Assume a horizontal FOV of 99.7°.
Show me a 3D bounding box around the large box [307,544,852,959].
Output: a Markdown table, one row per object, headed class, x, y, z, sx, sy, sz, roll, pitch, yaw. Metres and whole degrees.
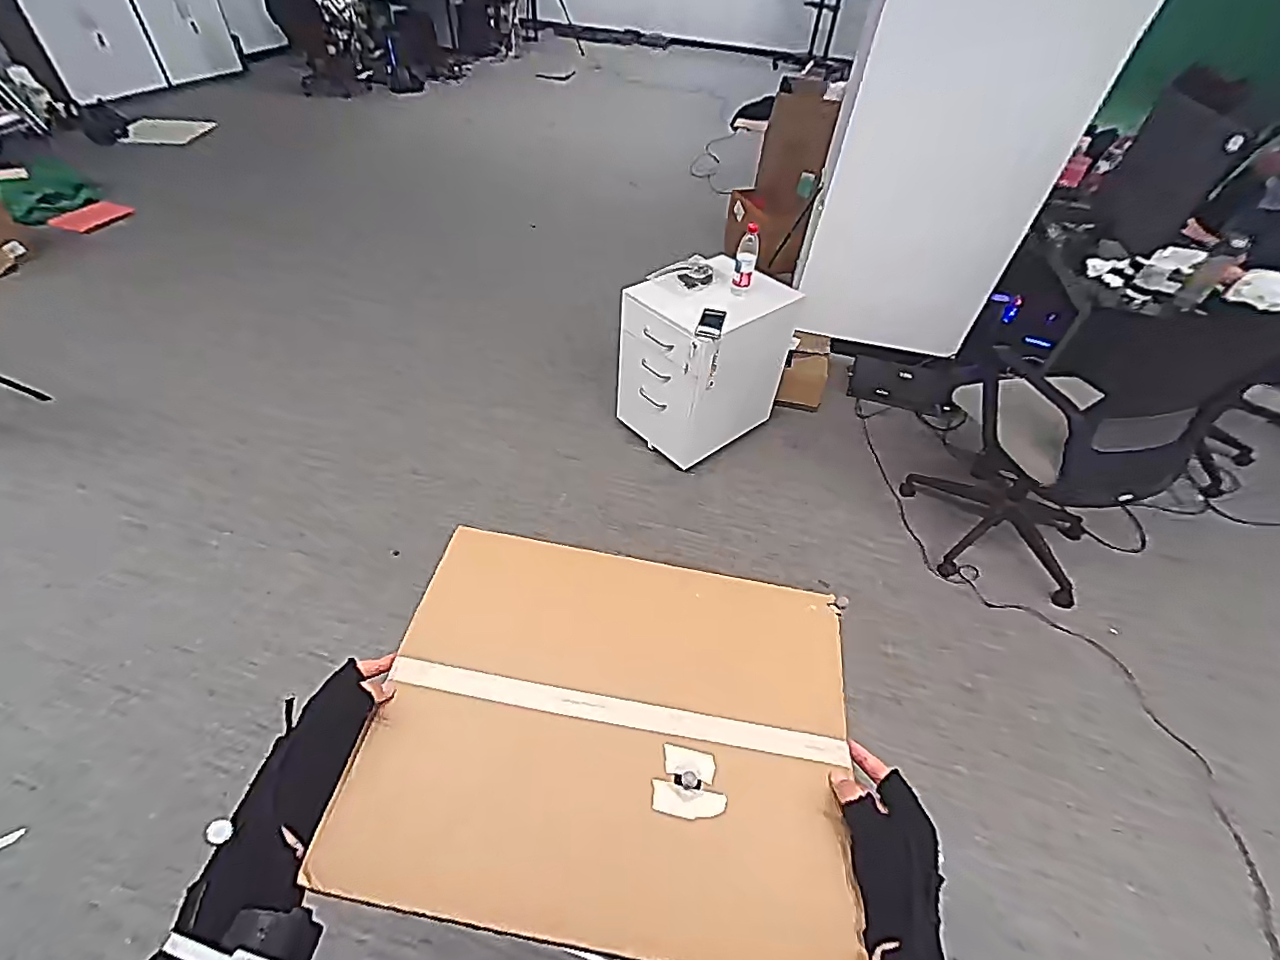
| class | x | y | z | sx | sy | sz | roll | pitch | yaw |
| --- | --- | --- | --- | --- | --- | --- | --- | --- | --- |
| large box | -0.040 | 0.310 | 0.589 | 0.408 | 0.320 | 0.320 | 11 | 51 | 1 |
